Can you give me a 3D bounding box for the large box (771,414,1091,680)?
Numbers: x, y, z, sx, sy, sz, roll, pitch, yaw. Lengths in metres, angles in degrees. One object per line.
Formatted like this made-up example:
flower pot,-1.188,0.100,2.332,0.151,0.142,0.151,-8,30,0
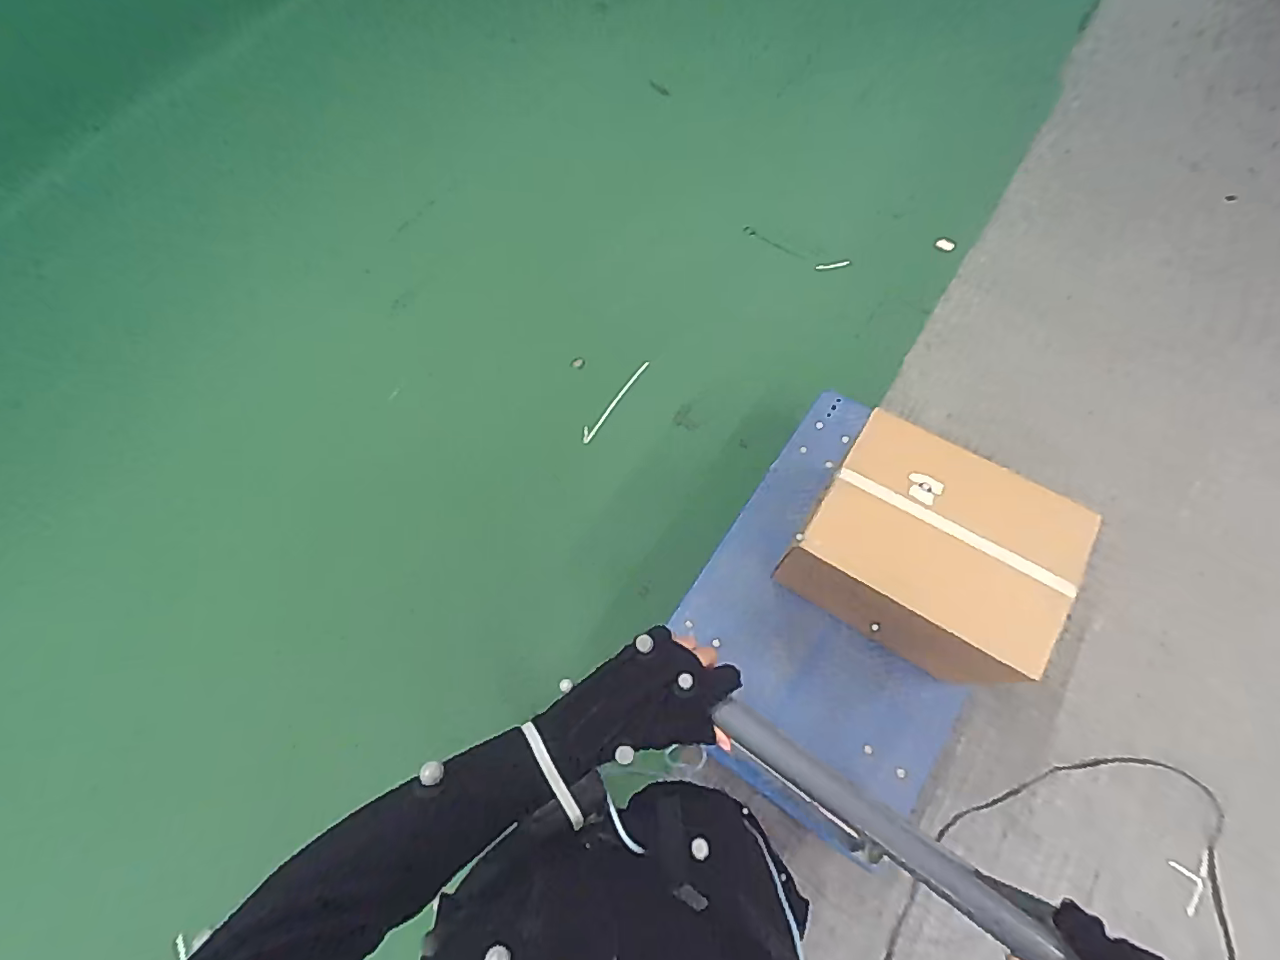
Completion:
large box,0.520,0.144,1.048,0.408,0.320,0.320,30,74,16
